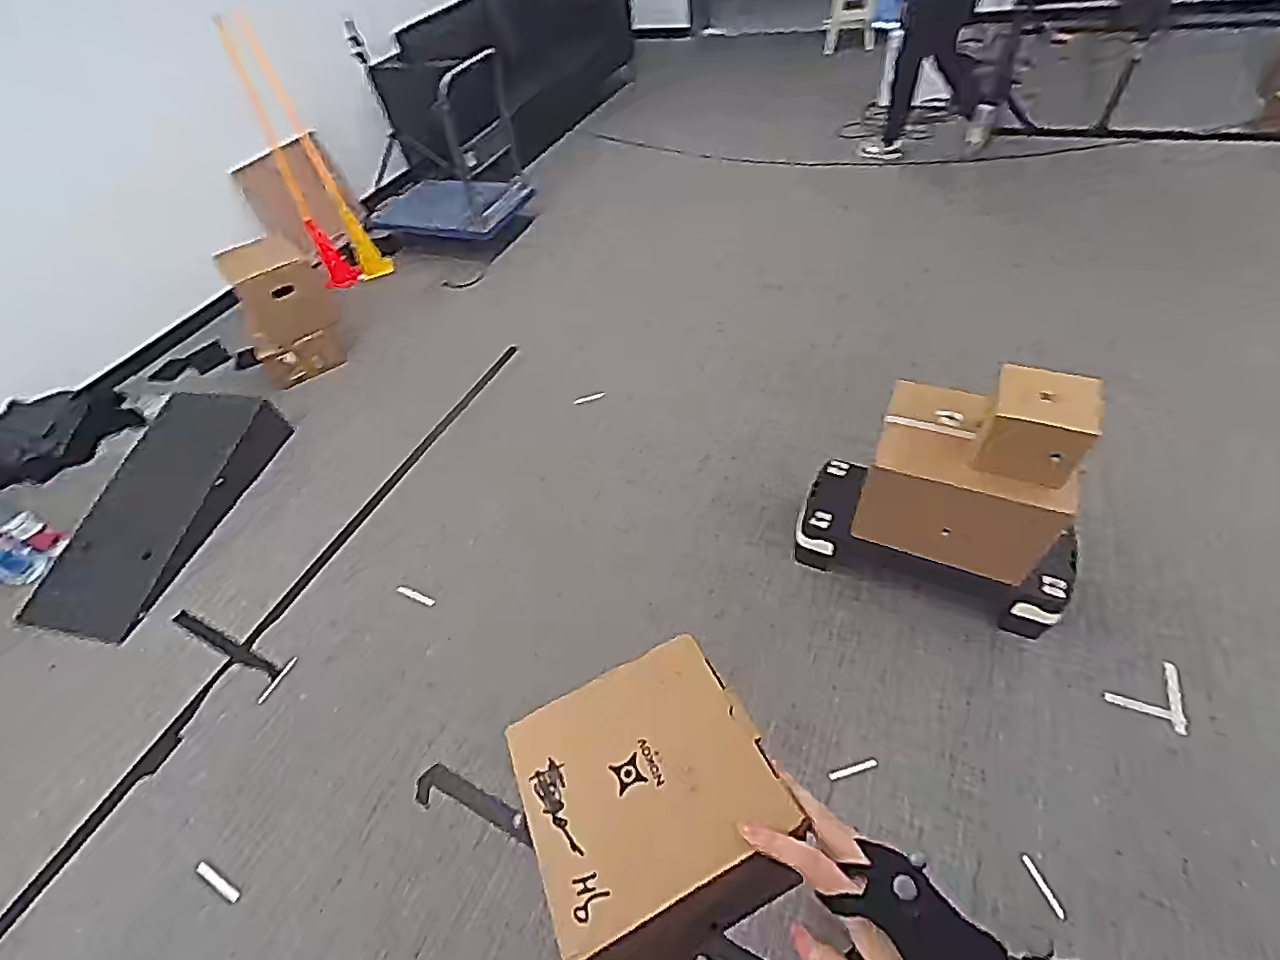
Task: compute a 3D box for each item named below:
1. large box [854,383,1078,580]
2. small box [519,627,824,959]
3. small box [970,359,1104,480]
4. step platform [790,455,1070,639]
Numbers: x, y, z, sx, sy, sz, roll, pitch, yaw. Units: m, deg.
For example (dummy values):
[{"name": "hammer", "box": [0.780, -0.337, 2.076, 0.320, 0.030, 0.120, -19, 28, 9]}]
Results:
[{"name": "large box", "box": [0.796, 0.001, 1.357, 0.408, 0.320, 0.320, 16, 55, 23]}, {"name": "small box", "box": [0.024, 0.261, 0.444, 0.179, 0.176, 0.168, -23, 42, -11]}, {"name": "small box", "box": [0.826, -0.123, 1.133, 0.179, 0.176, 0.168, 17, 56, 23]}, {"name": "step platform", "box": [0.792, 0.163, 1.536, 0.684, 0.204, 0.286, 20, 57, 26]}]
